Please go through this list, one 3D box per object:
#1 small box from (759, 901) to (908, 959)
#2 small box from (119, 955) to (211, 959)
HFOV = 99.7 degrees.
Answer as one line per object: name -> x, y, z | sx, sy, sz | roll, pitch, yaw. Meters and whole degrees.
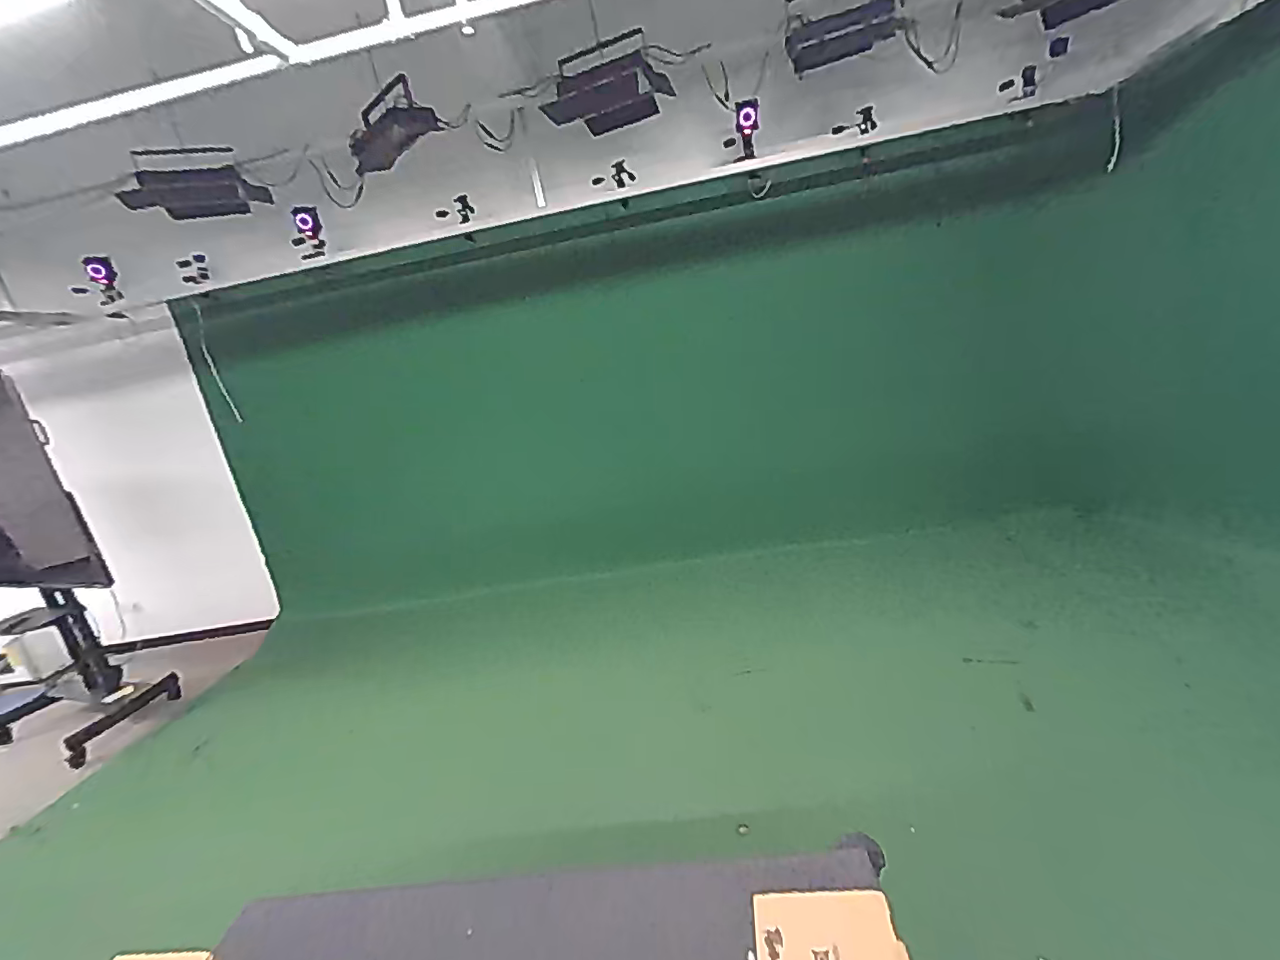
small box -> 0.249, 0.668, 0.669 | 0.179, 0.176, 0.168 | -9, 14, 10
small box -> -0.714, 0.822, 0.759 | 0.179, 0.176, 0.168 | -9, 11, 9
